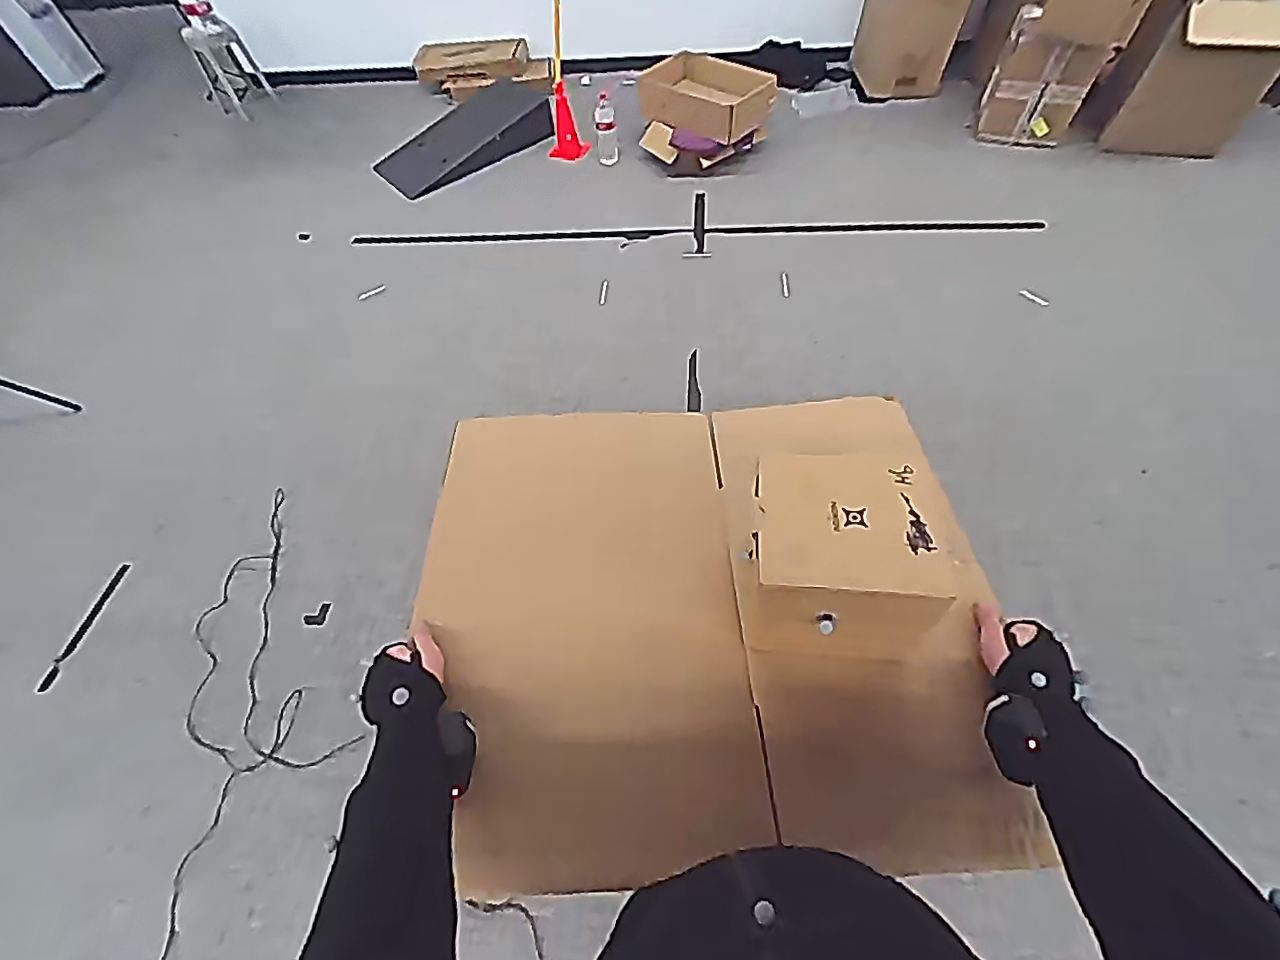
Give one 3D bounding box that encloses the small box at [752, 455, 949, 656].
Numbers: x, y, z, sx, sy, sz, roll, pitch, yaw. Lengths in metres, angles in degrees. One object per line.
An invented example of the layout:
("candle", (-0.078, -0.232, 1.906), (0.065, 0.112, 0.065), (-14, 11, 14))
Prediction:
("small box", (0.217, 0.088, 0.612), (0.179, 0.176, 0.168), (1, 53, 11))
